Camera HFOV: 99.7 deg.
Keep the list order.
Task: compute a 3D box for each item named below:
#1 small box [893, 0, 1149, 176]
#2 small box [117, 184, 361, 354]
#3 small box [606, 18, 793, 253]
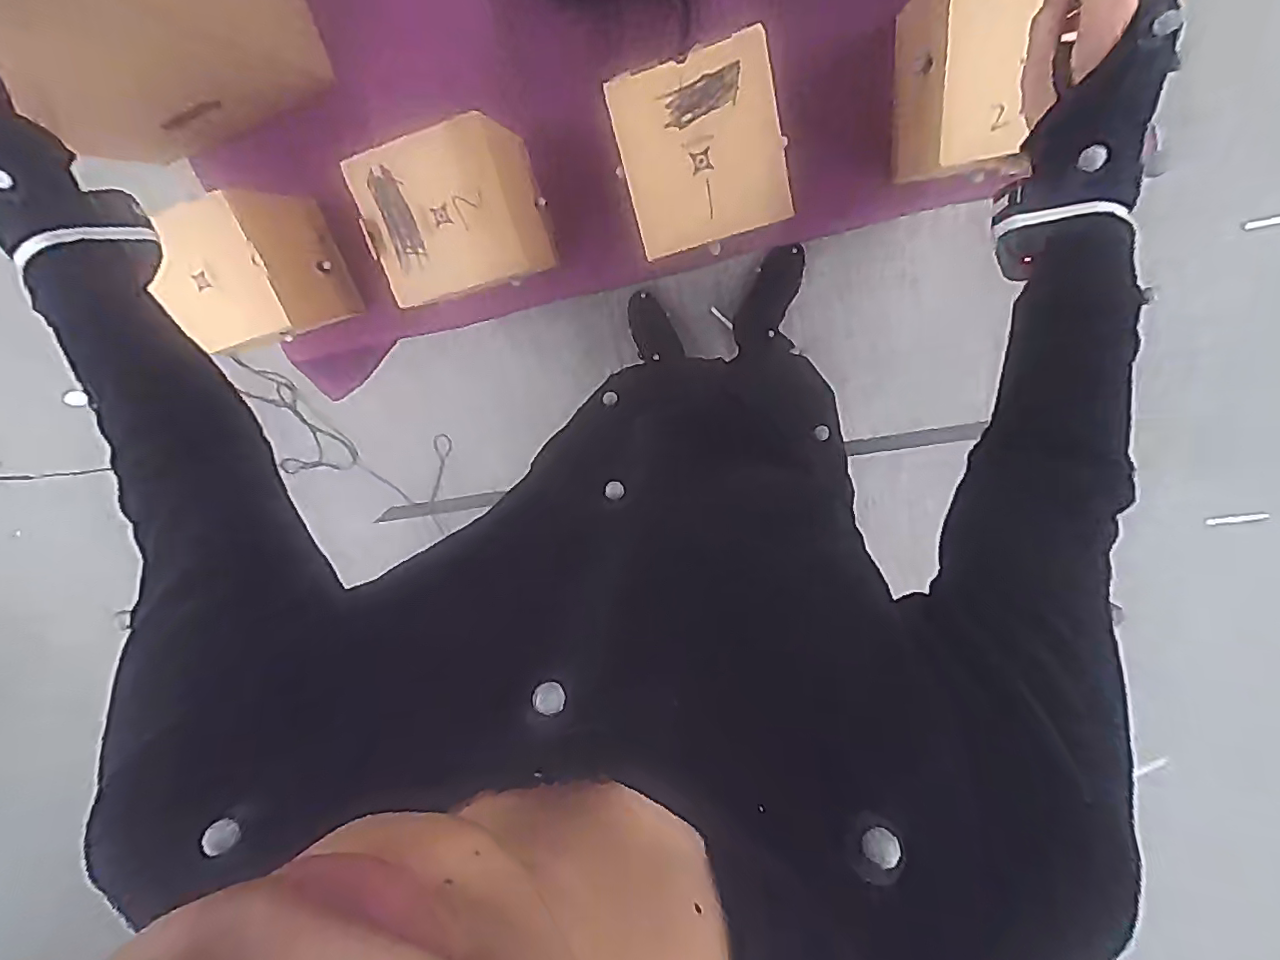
[{"bbox_3d":[0.374,-0.434,0.562,0.168,0.176,0.179,-4,113,11],"label":"small box"},{"bbox_3d":[-0.537,-0.289,0.753,0.179,0.176,0.168,-14,112,12],"label":"small box"},{"bbox_3d":[0.072,-0.378,0.630,0.168,0.176,0.179,-12,113,13],"label":"small box"}]
